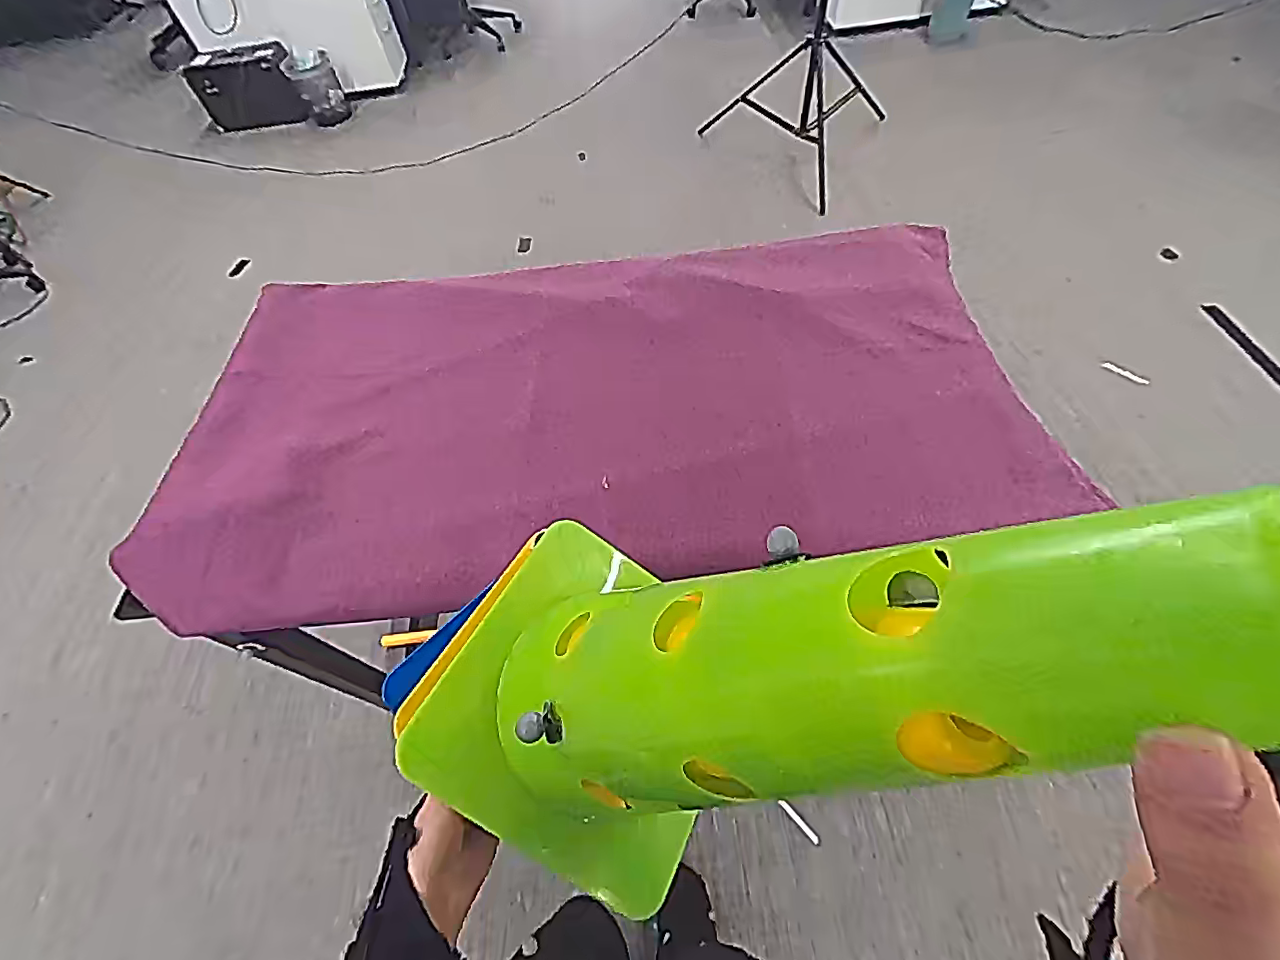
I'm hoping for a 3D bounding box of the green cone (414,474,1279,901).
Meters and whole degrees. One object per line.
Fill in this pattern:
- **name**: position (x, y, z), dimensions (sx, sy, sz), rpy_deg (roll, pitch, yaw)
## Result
- **green cone**: position (0.049, 0.076, 0.232), dimensions (0.200, 0.368, 0.202), rpy_deg (36, 57, -6)
